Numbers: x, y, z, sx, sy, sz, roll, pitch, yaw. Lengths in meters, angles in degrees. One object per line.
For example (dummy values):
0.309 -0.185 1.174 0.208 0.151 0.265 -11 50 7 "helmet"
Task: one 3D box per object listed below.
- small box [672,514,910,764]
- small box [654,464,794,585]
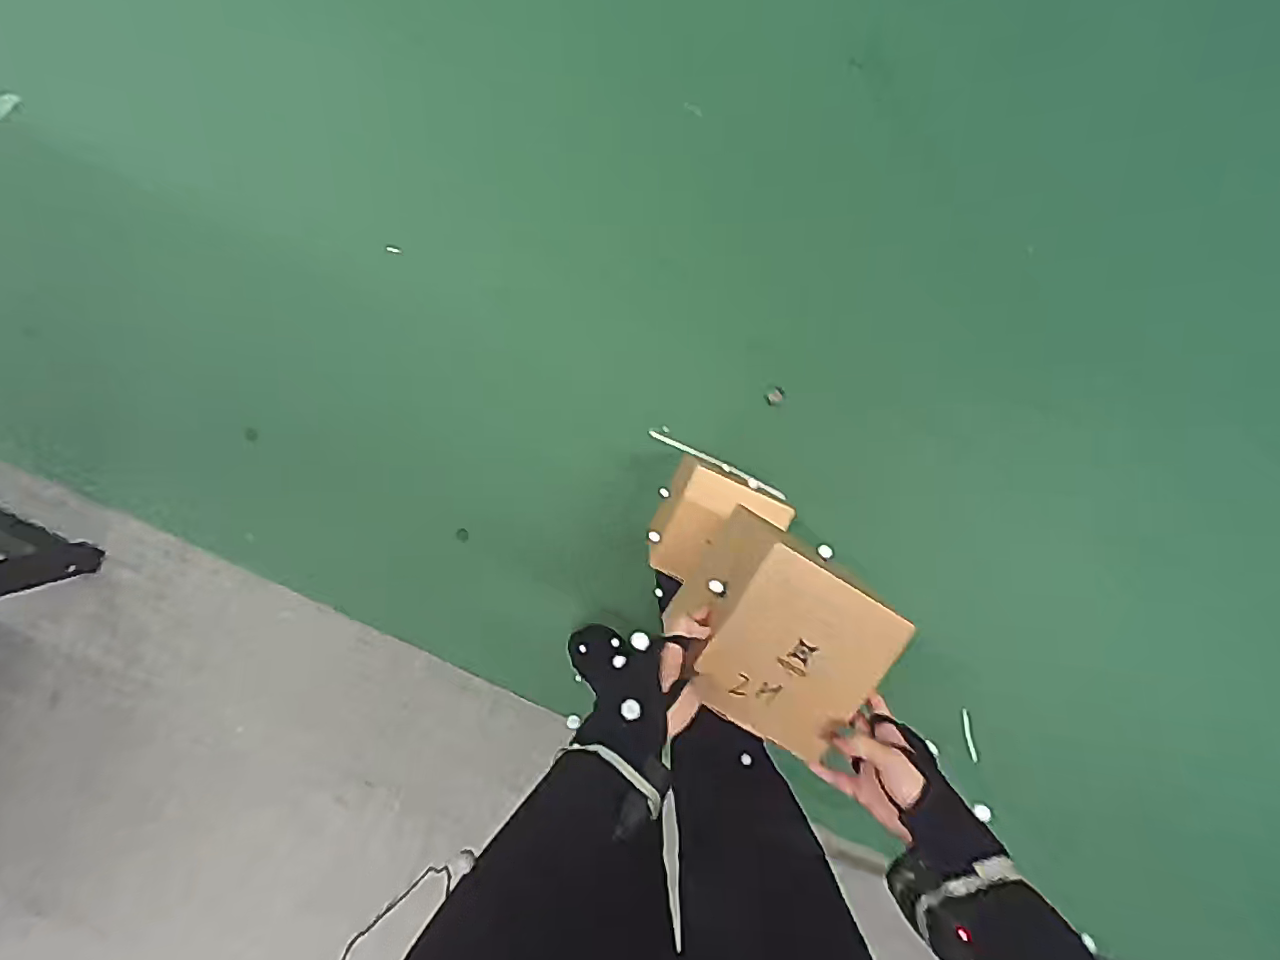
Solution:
0.147 0.159 0.602 0.168 0.176 0.179 30 98 -6 "small box"
0.129 0.084 0.905 0.168 0.176 0.179 24 97 -1 "small box"
